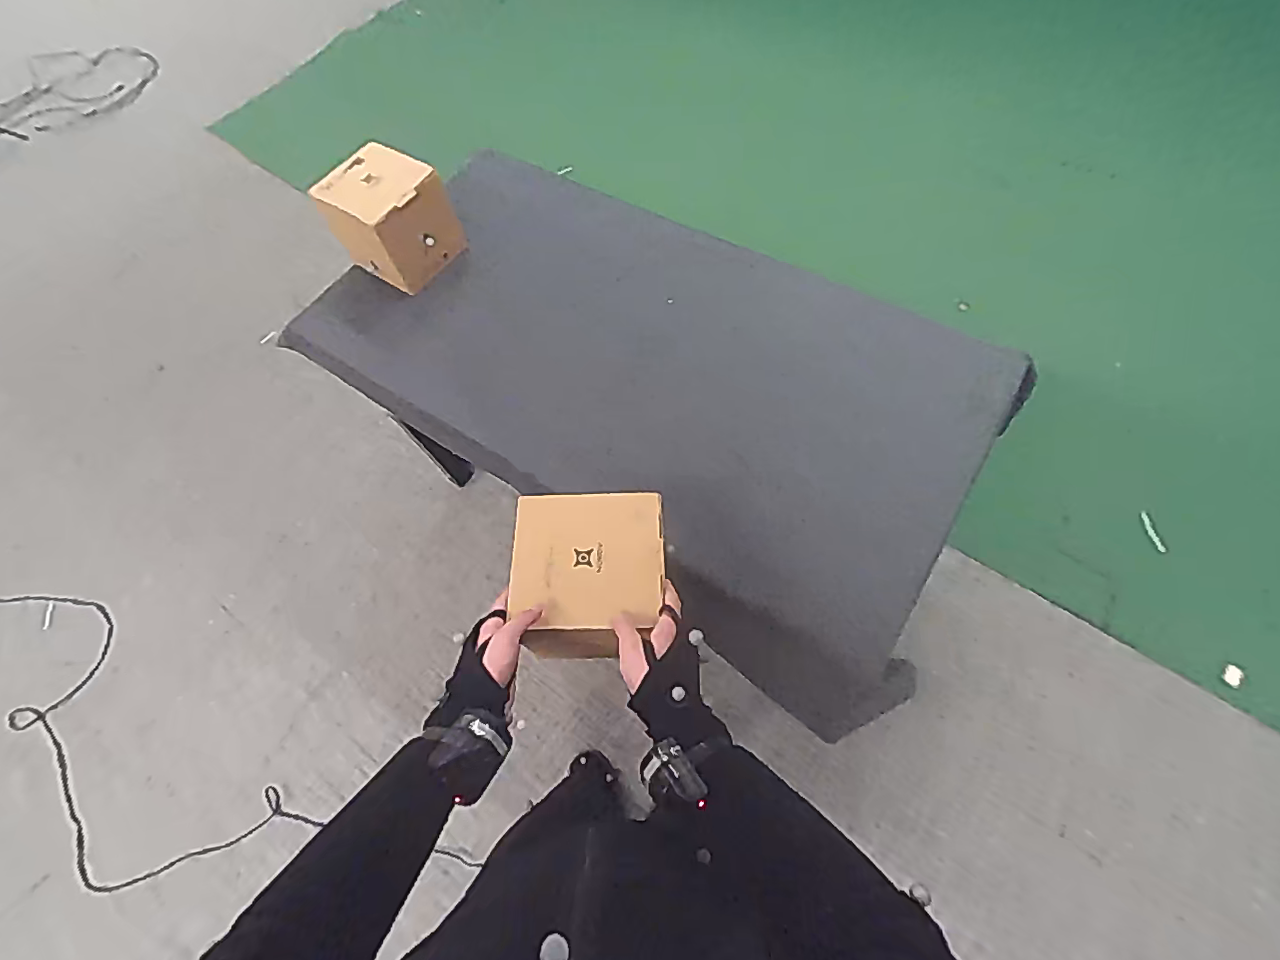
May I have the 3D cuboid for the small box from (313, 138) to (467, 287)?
[{"bbox_3d":[-0.465,-0.503,1.036,0.179,0.176,0.168,32,69,16],"label":"small box"}]

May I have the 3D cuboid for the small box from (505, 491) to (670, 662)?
[{"bbox_3d":[-0.054,0.125,0.675,0.179,0.176,0.168,-2,60,2],"label":"small box"}]
